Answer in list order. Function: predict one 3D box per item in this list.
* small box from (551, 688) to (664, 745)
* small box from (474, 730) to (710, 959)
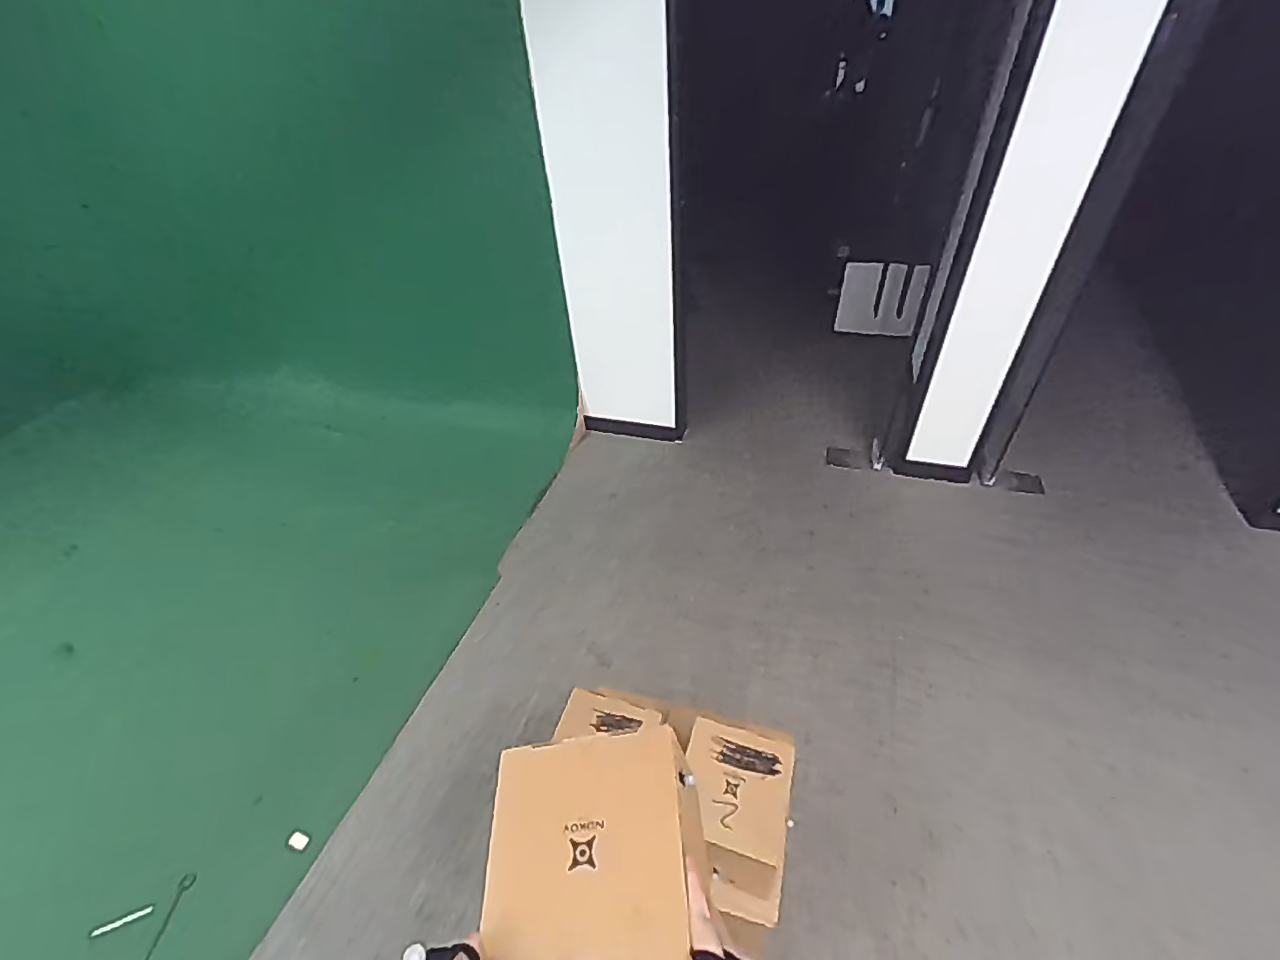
[{"bbox_3d":[-0.062,0.501,0.942,0.168,0.176,0.179,11,46,16],"label":"small box"},{"bbox_3d":[-0.034,0.363,0.508,0.168,0.176,0.179,-11,43,6],"label":"small box"}]
